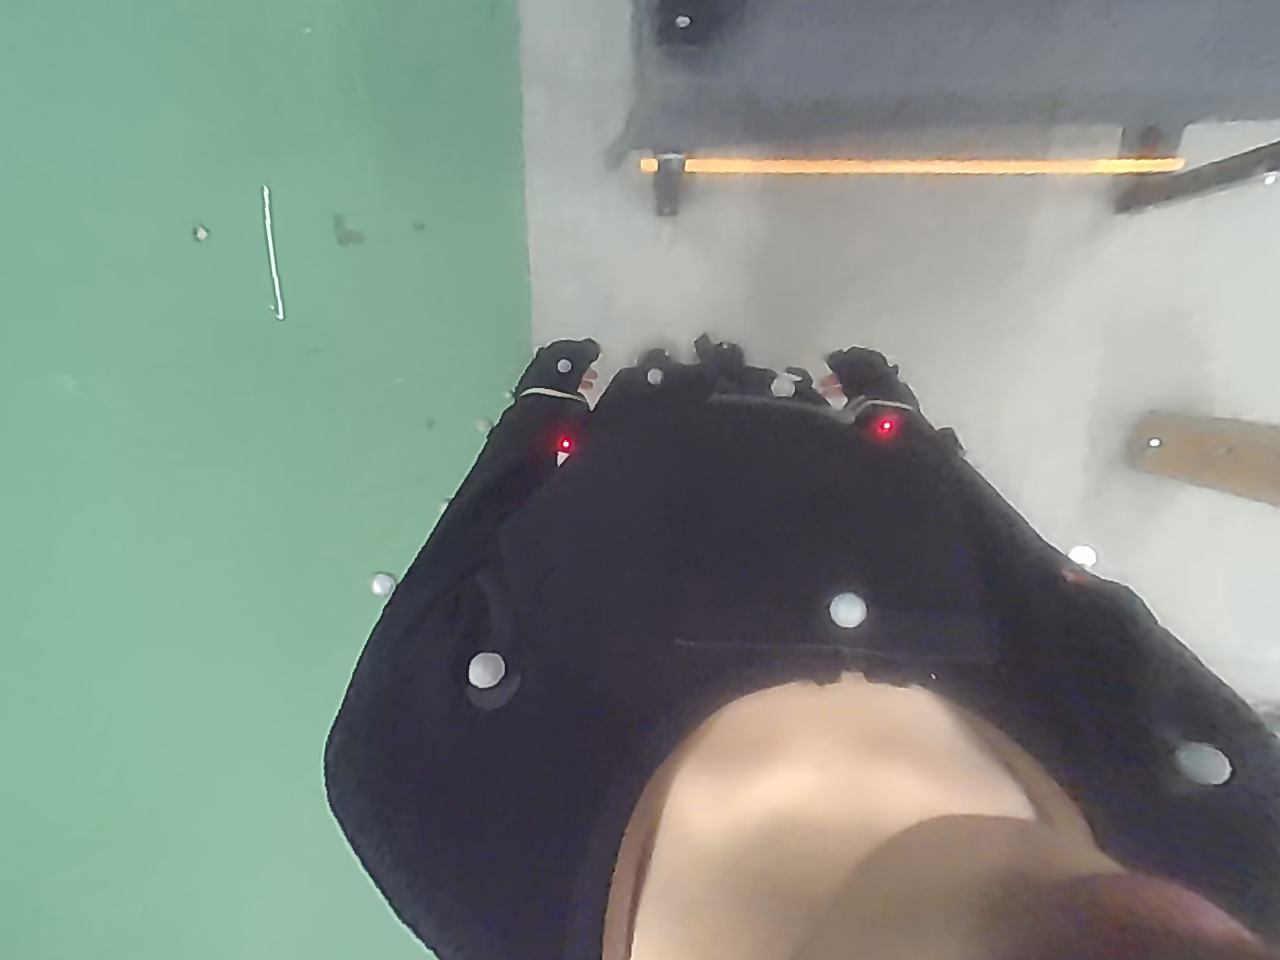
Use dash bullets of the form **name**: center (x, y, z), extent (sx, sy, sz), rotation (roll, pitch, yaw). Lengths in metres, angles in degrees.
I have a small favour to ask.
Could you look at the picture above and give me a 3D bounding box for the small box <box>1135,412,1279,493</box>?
- **small box**: center (1.417, -0.075, 1.354), extent (0.179, 0.176, 0.168), rotation (6, 103, 0)
